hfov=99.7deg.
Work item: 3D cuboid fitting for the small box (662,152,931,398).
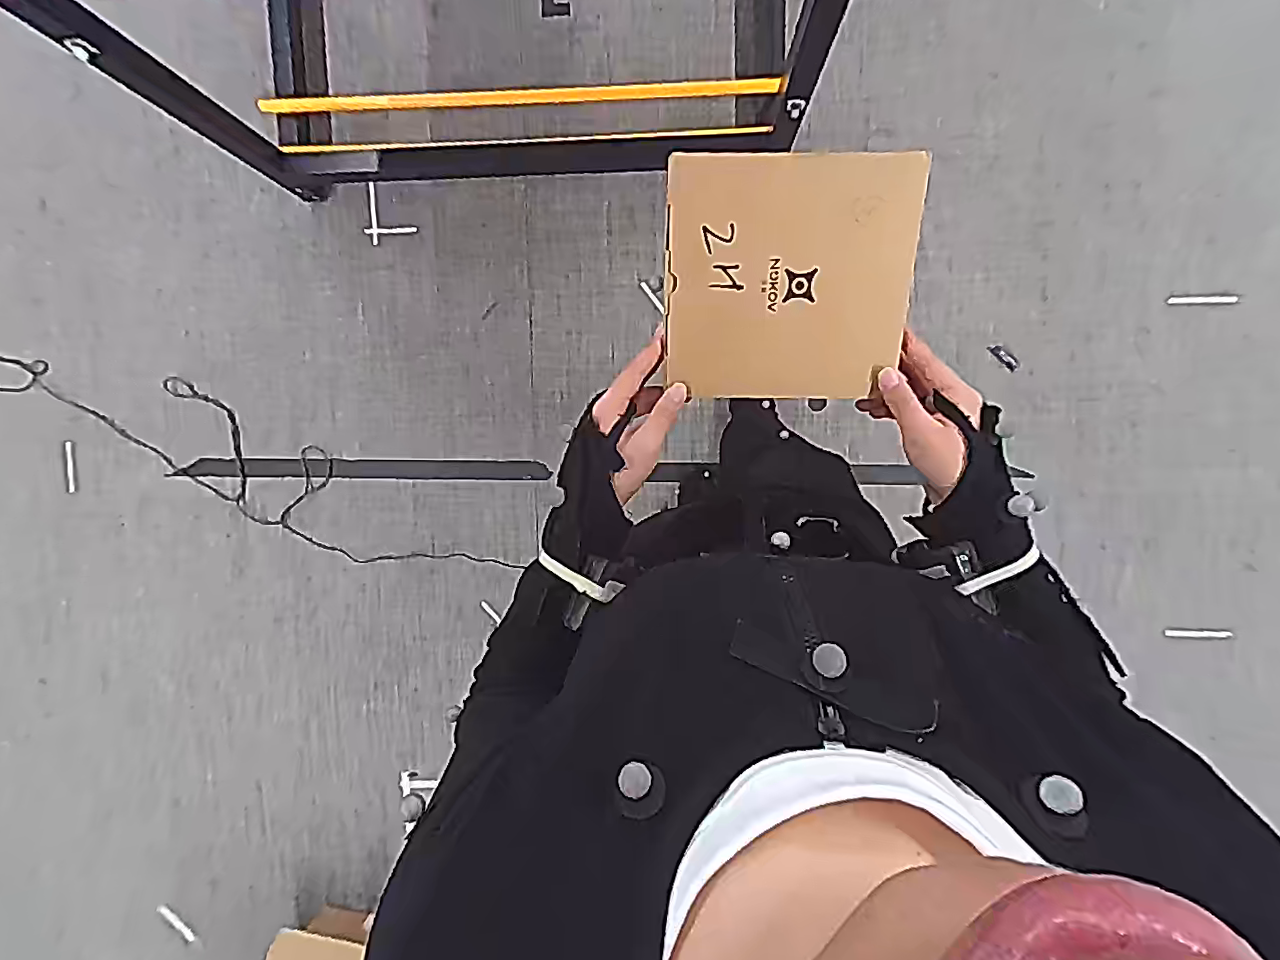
[{"bbox_3d":[0.110,-0.169,0.464,0.179,0.176,0.168,1,109,2],"label":"small box"}]
